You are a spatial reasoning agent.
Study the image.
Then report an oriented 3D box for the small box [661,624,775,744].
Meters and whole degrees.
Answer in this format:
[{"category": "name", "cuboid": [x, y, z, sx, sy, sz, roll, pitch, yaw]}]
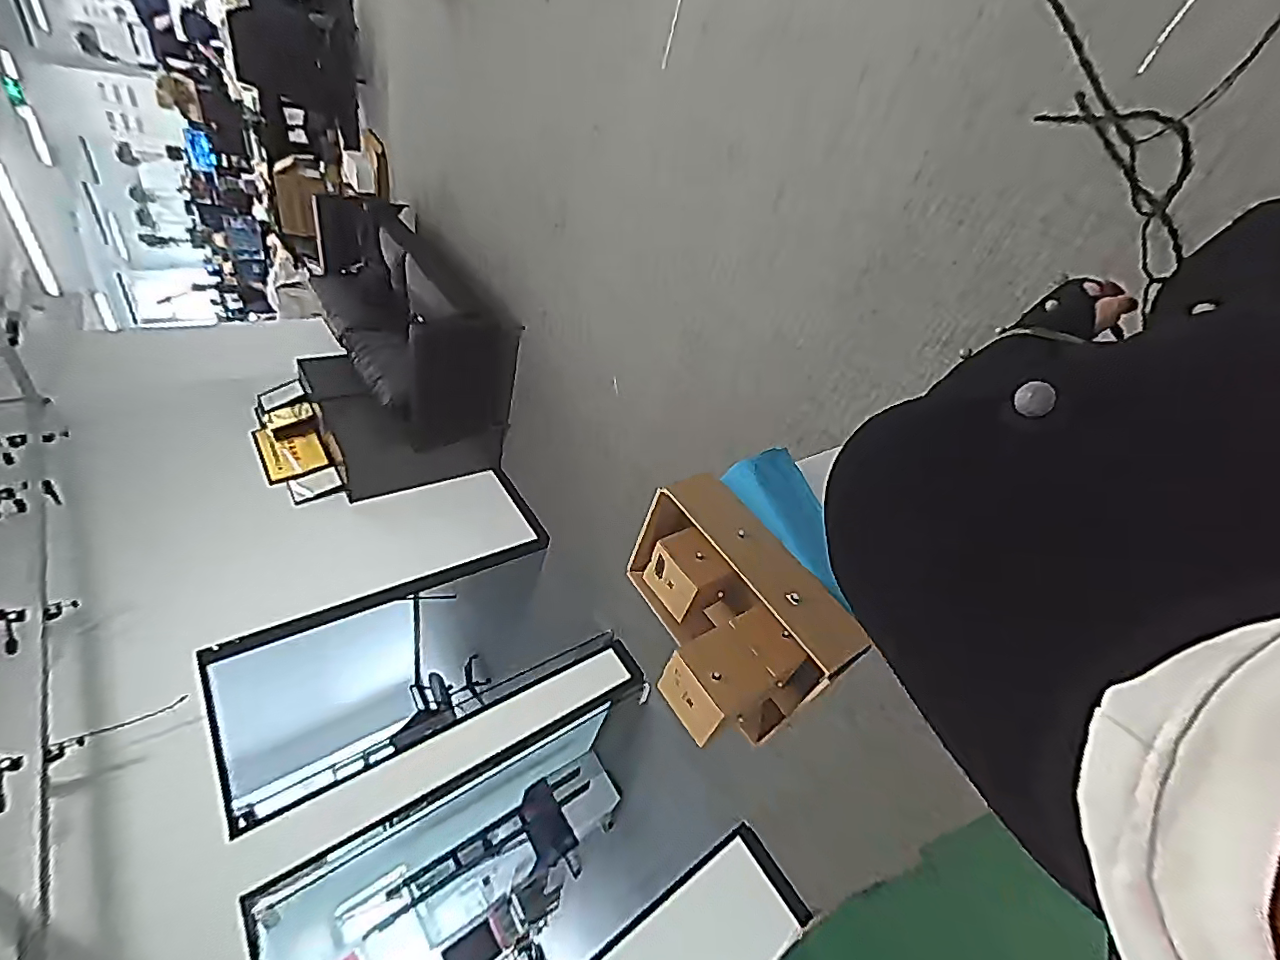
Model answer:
[{"category": "small box", "cuboid": [0.182, 0.470, 1.262, 0.179, 0.176, 0.168, 49, 139, 32]}]
